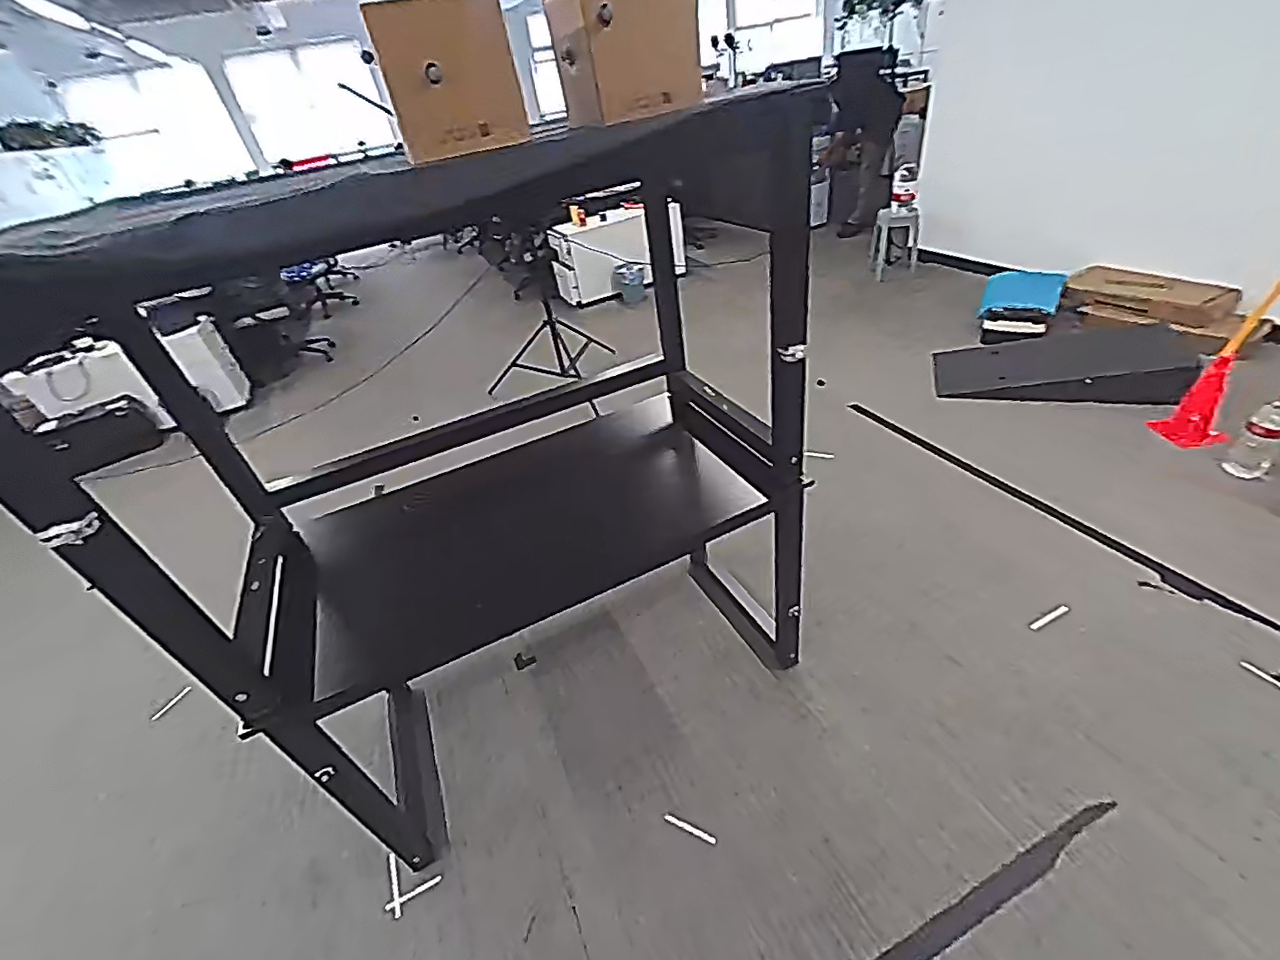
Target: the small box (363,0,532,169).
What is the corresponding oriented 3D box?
[{"bbox_3d":[-0.262,-0.543,0.751,0.168,0.176,0.179,-20,36,-12],"label":"small box"}]
